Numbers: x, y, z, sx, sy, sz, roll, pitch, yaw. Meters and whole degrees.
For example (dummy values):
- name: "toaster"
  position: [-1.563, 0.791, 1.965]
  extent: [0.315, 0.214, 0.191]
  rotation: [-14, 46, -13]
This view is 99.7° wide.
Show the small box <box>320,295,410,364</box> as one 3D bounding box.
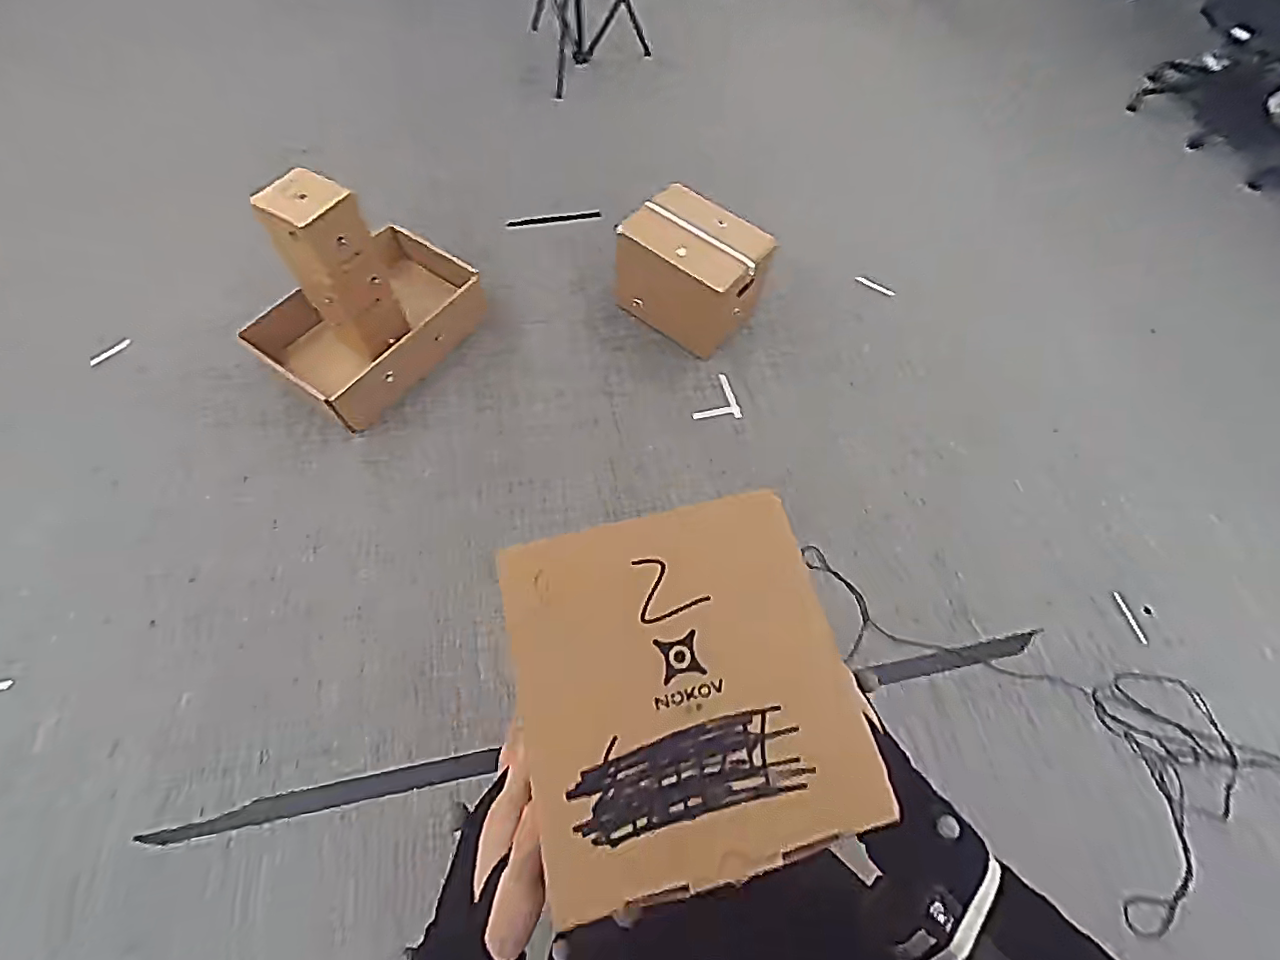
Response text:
- name: "small box"
  position: [-0.852, -0.491, 1.675]
  extent: [0.179, 0.176, 0.168]
  rotation: [32, 66, 12]

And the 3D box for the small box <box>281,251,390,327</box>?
- name: "small box"
  position: [-0.849, -0.562, 1.529]
  extent: [0.179, 0.176, 0.168]
  rotation: [27, 63, 11]

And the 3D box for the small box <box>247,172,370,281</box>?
- name: "small box"
  position: [-0.836, -0.641, 1.384]
  extent: [0.179, 0.176, 0.168]
  rotation: [28, 63, 10]
